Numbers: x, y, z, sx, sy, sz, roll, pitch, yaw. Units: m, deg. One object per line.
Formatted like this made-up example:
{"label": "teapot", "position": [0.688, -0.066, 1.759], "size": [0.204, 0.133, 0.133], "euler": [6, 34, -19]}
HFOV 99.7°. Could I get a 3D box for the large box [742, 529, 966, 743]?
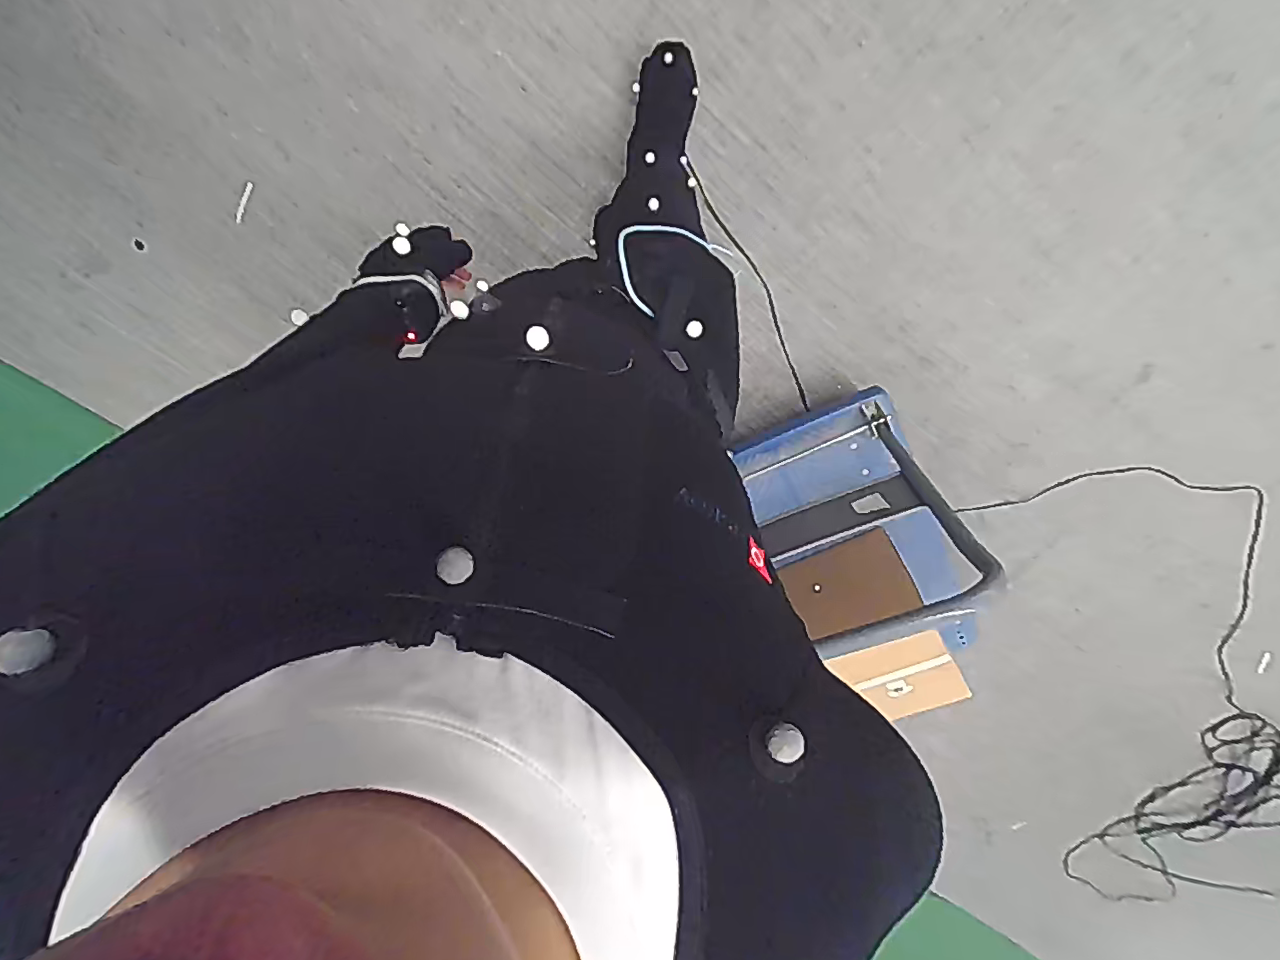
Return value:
{"label": "large box", "position": [0.520, 0.395, 1.389], "size": [0.408, 0.320, 0.320], "euler": [-29, 113, 18]}
